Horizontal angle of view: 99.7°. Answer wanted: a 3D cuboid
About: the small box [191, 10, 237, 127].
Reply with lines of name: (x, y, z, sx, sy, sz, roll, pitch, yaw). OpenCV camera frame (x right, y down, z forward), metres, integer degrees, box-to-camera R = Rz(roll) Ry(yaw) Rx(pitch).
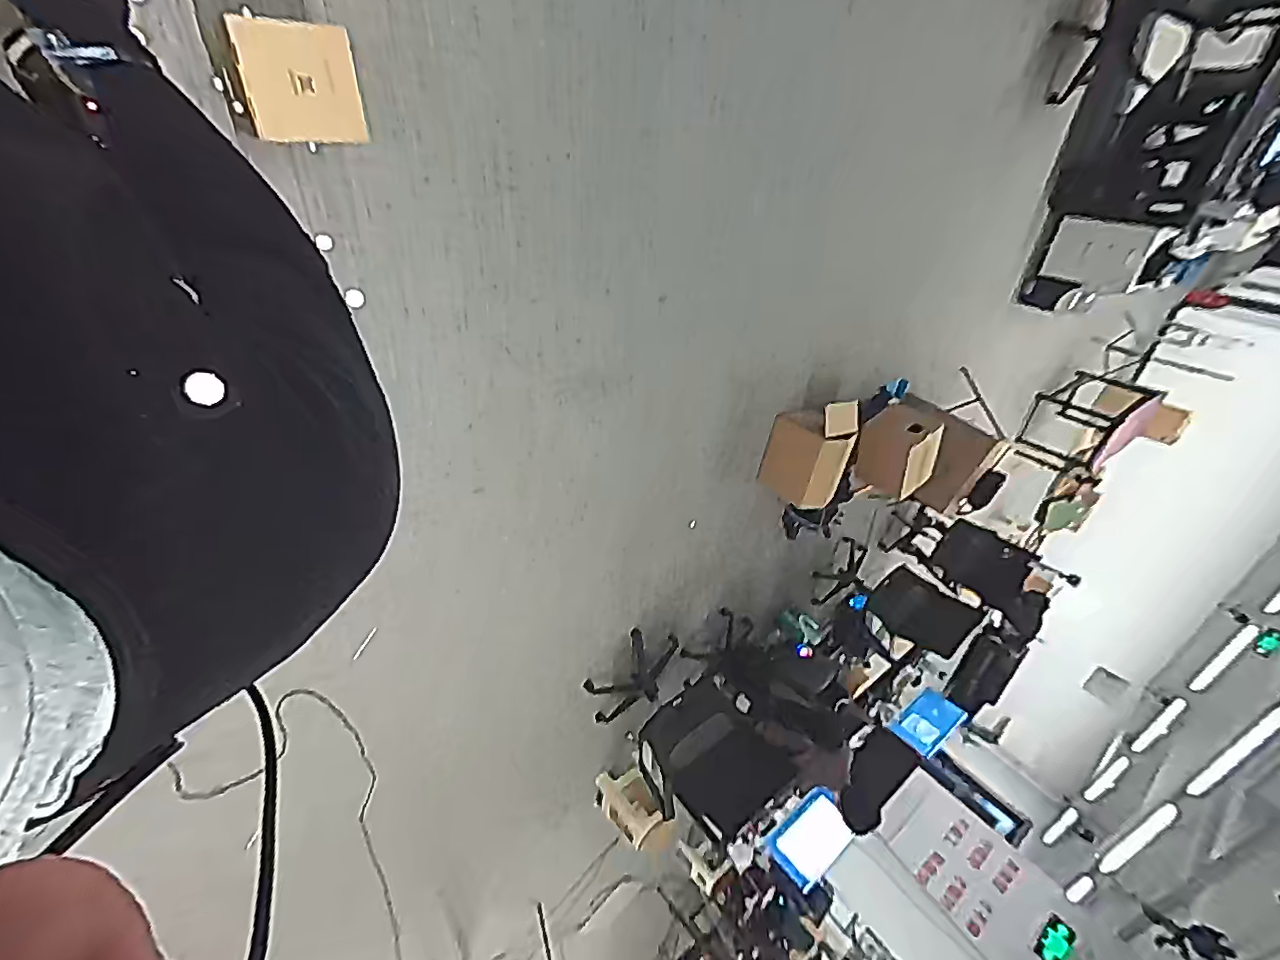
small box: (-0.721, -0.769, 1.030, 0.179, 0.176, 0.168, -23, 132, -31)

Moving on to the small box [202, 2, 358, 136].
small box: (-0.619, -0.694, 0.928, 0.179, 0.176, 0.168, -24, 133, -33)
